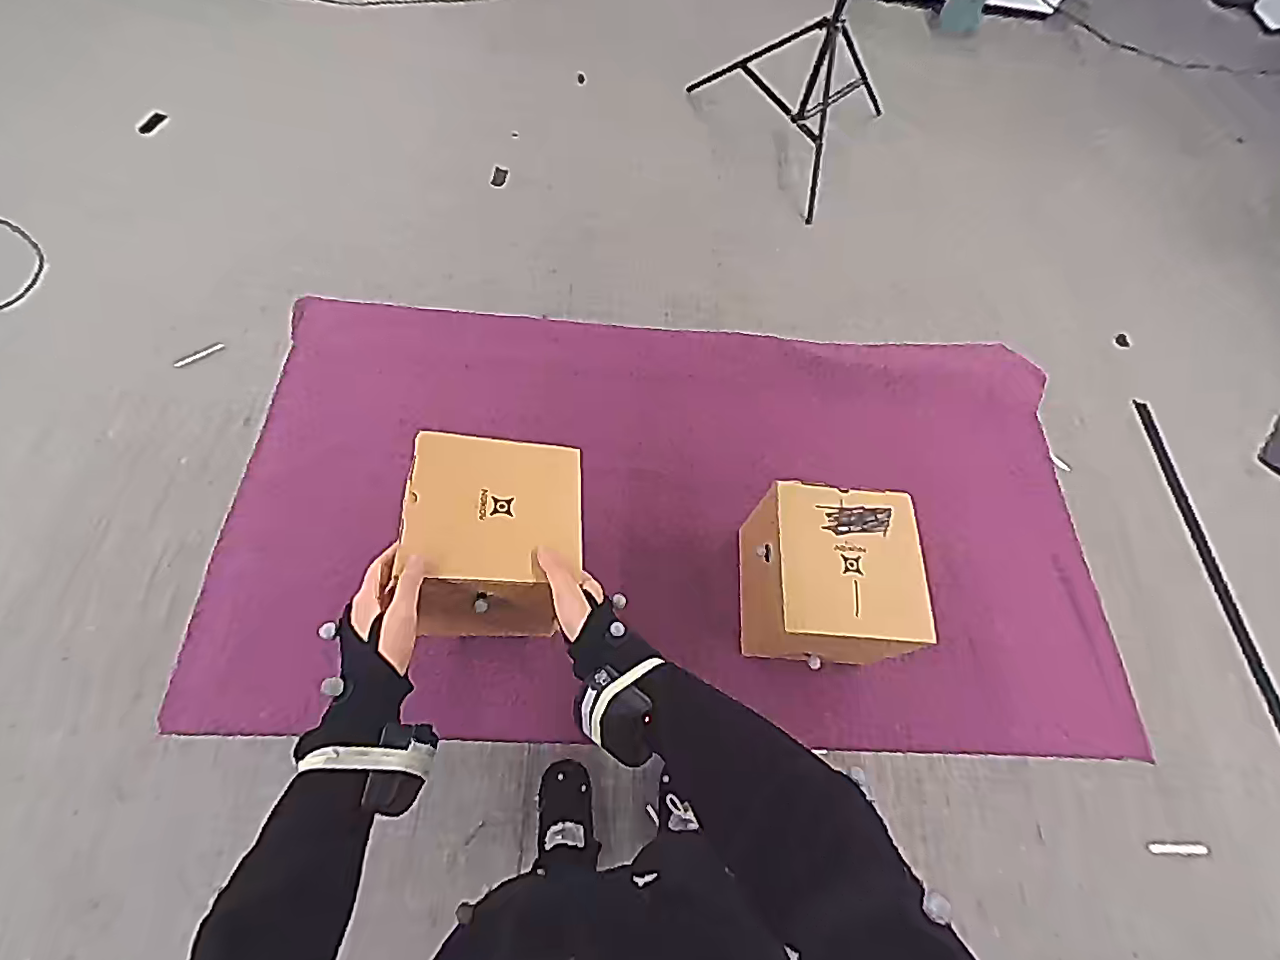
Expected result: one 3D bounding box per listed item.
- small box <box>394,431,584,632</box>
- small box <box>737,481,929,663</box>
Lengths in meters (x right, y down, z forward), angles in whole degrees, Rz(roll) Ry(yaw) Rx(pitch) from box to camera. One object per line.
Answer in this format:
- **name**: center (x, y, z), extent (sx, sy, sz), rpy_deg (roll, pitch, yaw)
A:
- **small box**: center (-0.168, 0.068, 0.613), extent (0.179, 0.176, 0.168), rpy_deg (5, 57, -17)
- **small box**: center (0.221, 0.121, 0.673), extent (0.168, 0.176, 0.179), rpy_deg (5, 64, -3)
